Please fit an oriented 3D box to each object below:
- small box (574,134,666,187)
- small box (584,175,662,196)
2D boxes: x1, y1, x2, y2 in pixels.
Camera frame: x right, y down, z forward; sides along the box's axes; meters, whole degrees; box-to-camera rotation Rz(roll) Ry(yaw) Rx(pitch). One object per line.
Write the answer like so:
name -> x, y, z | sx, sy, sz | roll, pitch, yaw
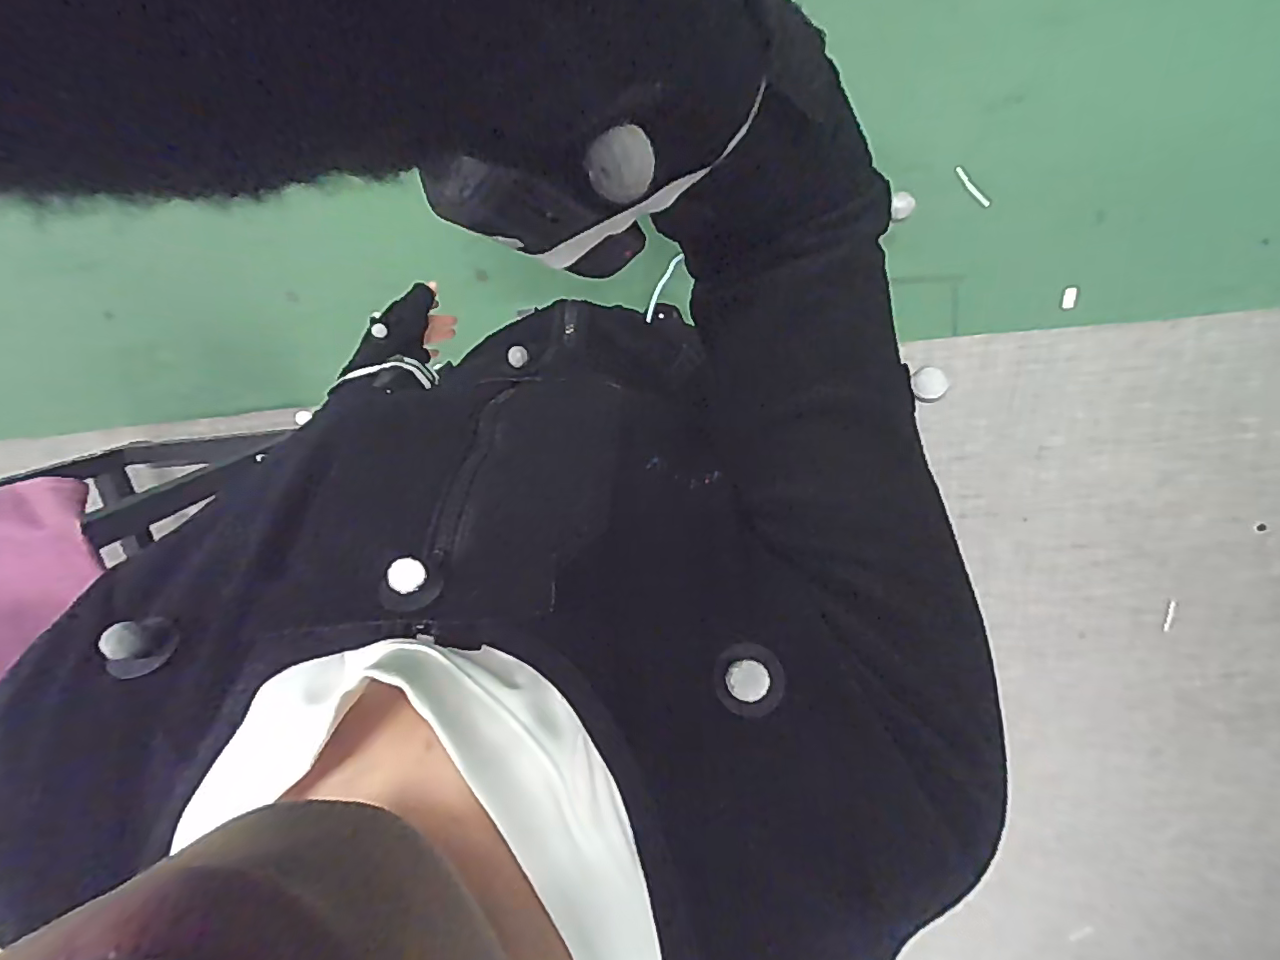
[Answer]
small box -> -0.042, -0.678, 1.027 | 0.168, 0.176, 0.179 | -6, 109, 3
small box -> -0.038, -0.737, 1.179 | 0.168, 0.176, 0.179 | -3, 109, 3
